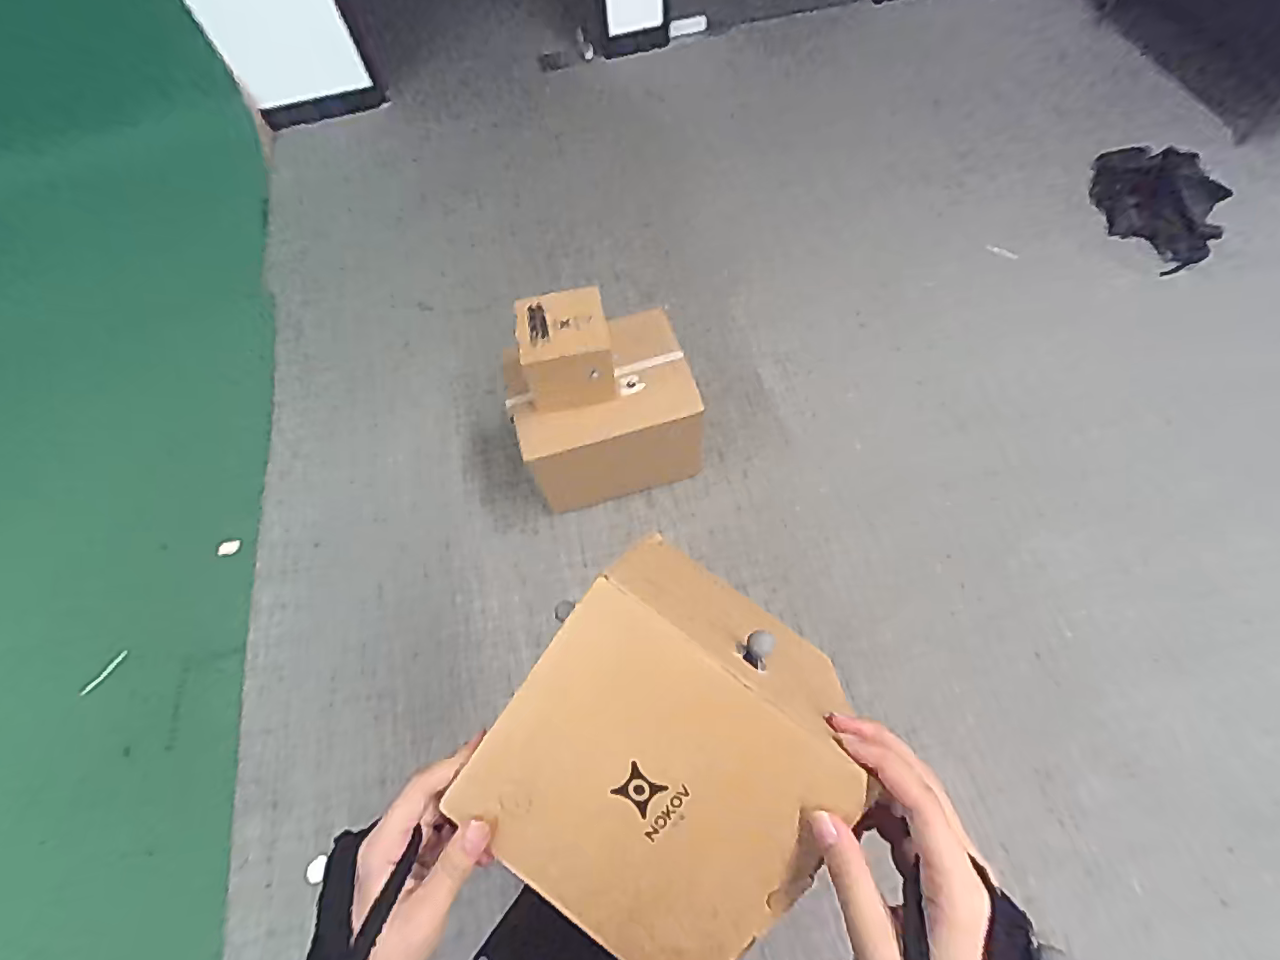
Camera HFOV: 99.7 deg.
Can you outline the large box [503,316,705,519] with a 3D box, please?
[{"bbox_3d":[-0.084,-0.144,1.345,0.408,0.320,0.320,-16,64,-5],"label":"large box"}]
